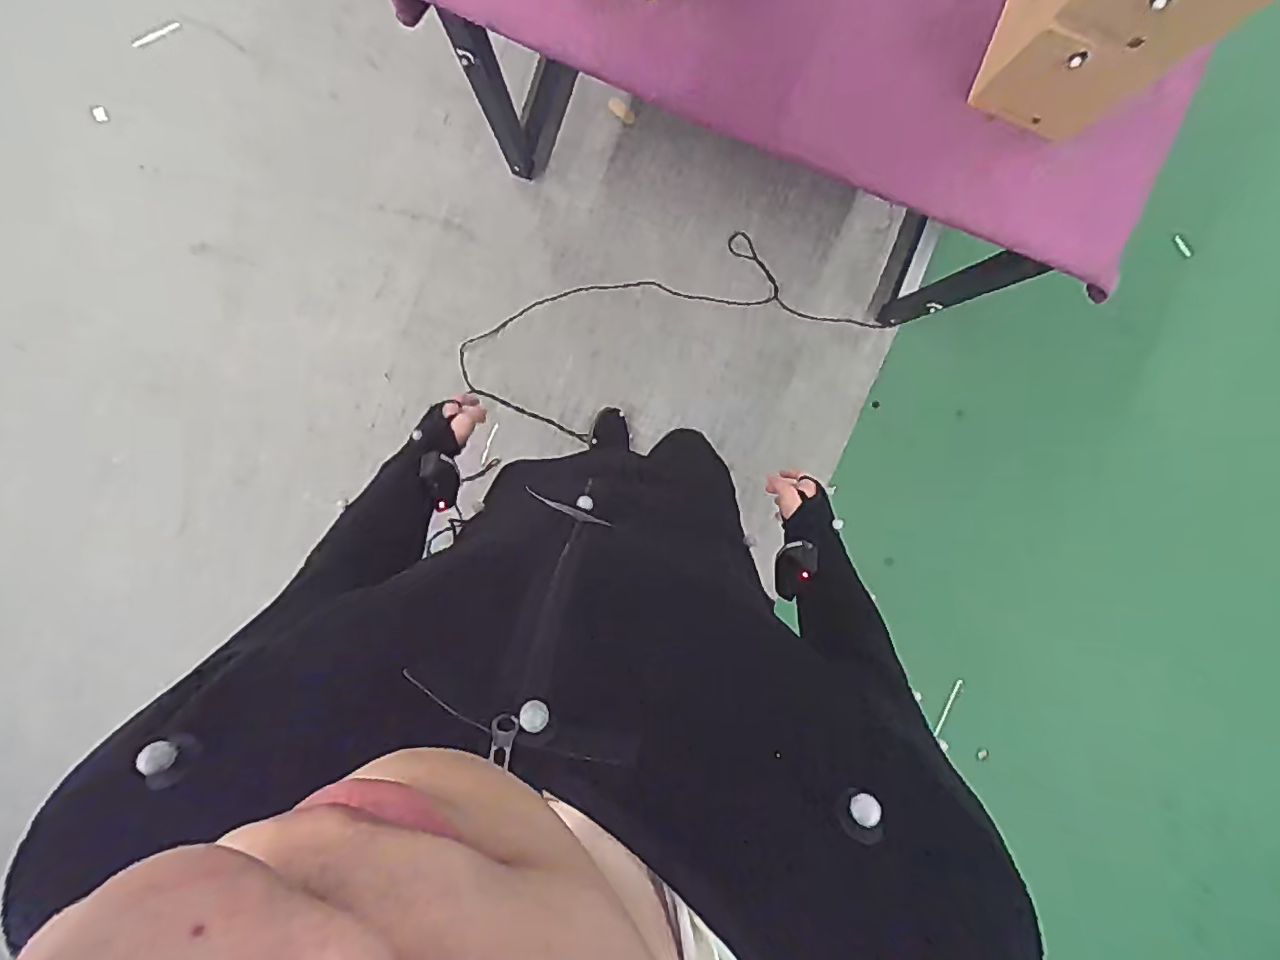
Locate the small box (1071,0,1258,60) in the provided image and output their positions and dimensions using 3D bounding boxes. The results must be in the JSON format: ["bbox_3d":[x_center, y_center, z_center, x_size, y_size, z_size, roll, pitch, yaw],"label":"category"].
[{"bbox_3d":[0.620,-0.615,0.584,0.168,0.176,0.179,21,95,-3],"label":"small box"}]

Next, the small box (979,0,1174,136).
[{"bbox_3d":[0.616,-0.630,0.748,0.168,0.176,0.179,20,95,-2],"label":"small box"}]
